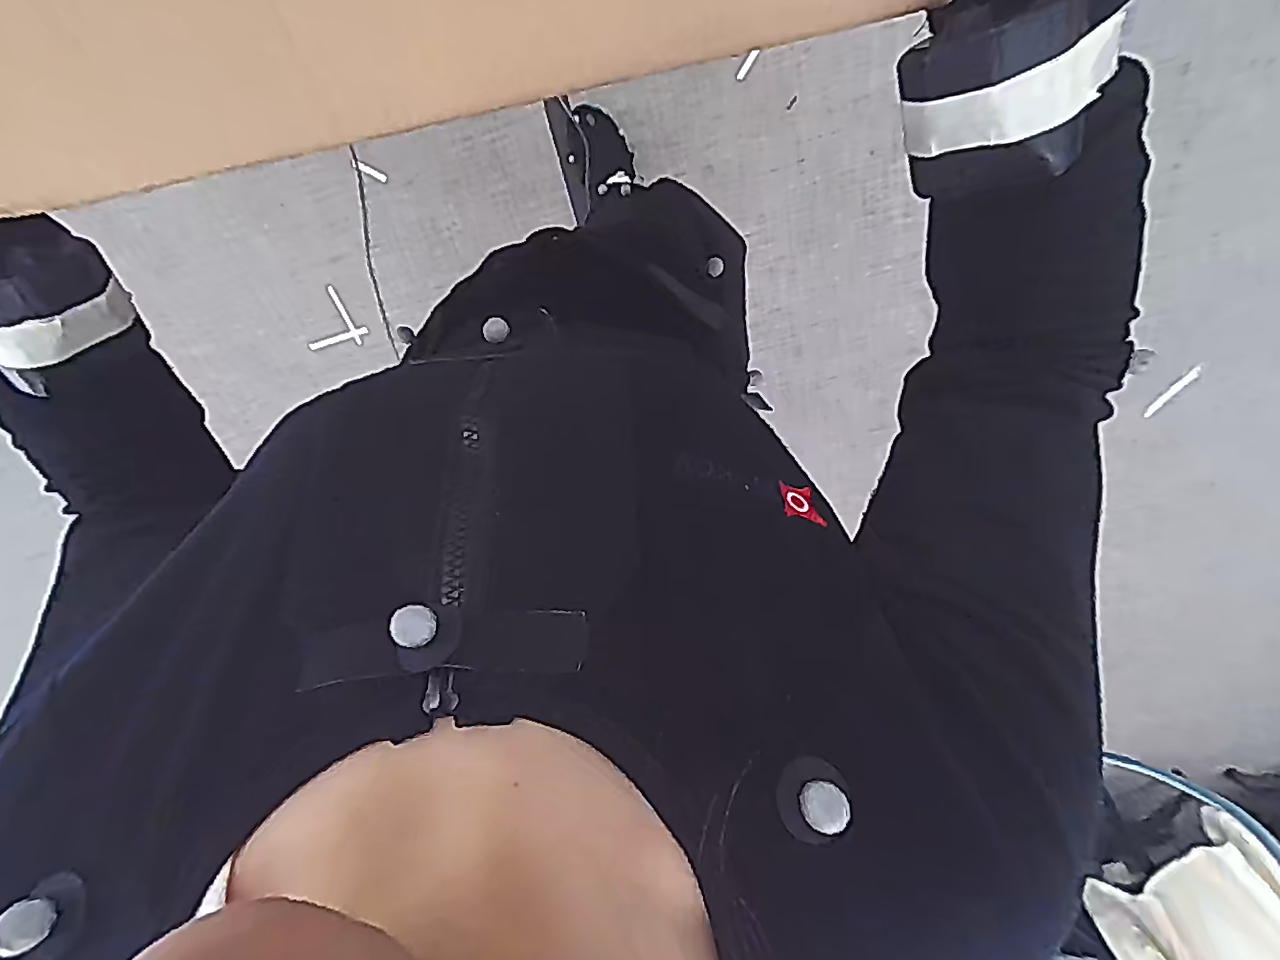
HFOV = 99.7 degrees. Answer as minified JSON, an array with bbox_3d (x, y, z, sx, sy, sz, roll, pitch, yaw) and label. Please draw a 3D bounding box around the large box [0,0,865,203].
[{"bbox_3d":[-0.121,-0.365,0.192,0.408,0.320,0.320,-10,142,4],"label":"large box"}]
